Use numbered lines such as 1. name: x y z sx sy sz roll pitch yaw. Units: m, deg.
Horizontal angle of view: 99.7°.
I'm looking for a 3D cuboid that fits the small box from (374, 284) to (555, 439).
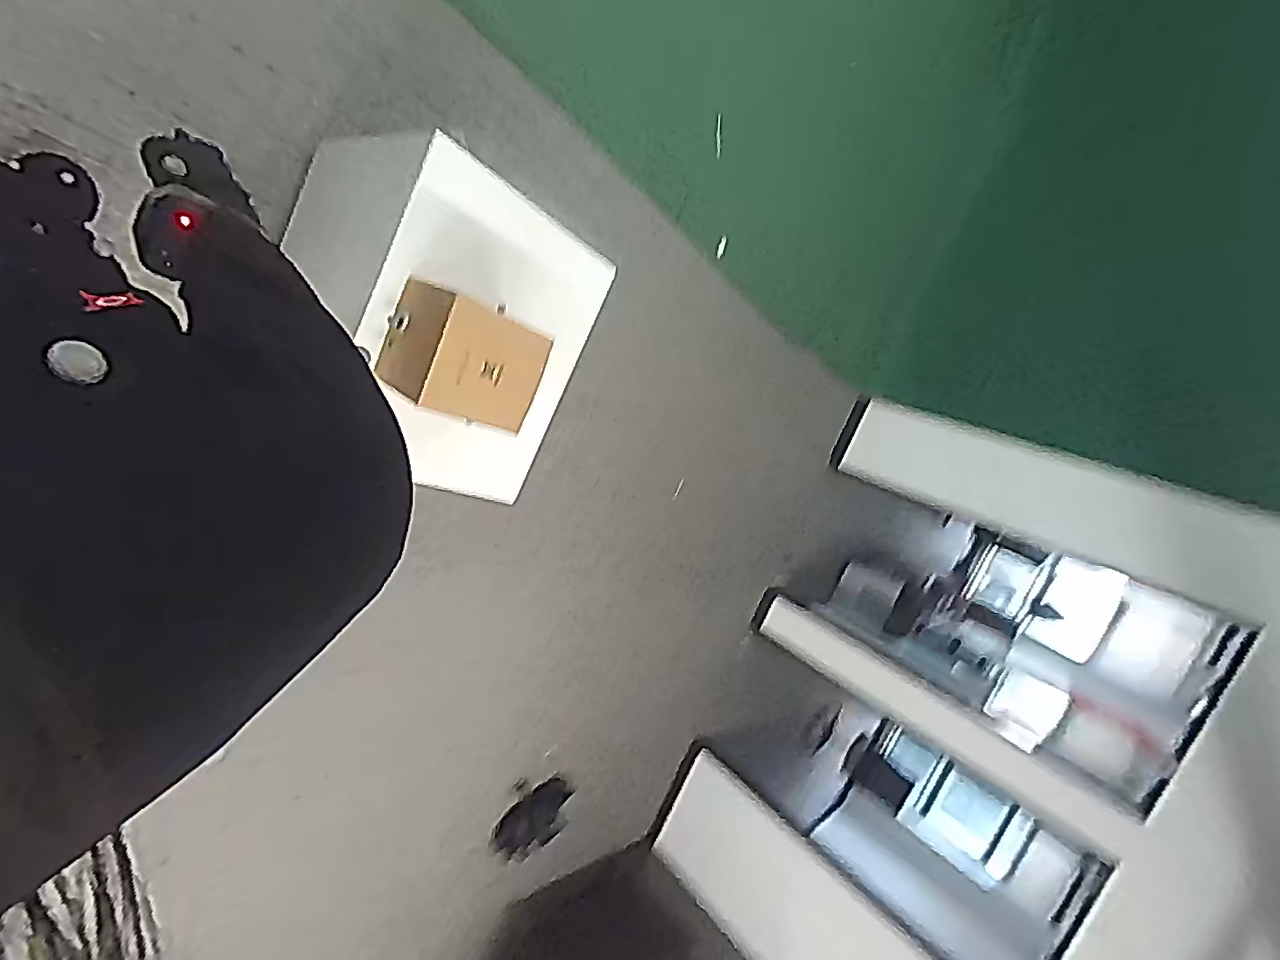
1. small box: -0.268 -0.182 0.821 0.179 0.176 0.168 15 100 -49
